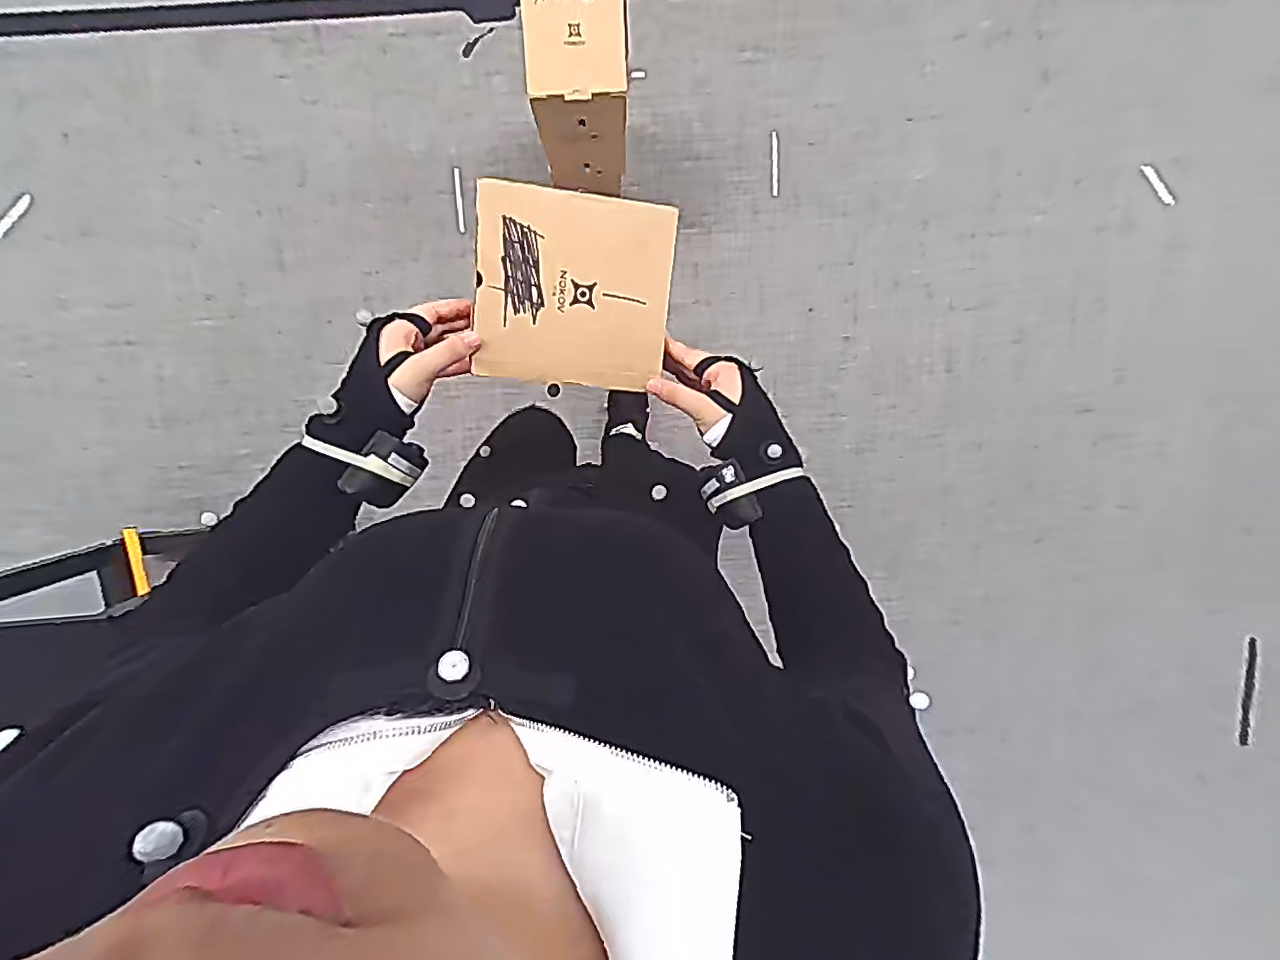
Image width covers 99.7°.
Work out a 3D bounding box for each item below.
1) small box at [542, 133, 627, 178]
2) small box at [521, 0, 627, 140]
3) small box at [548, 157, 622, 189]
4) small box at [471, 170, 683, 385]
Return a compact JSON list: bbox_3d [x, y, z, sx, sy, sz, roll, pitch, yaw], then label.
[{"bbox_3d":[-0.114,-0.747,1.109,0.168,0.176,0.179,-3,99,-1],"label":"small box"},{"bbox_3d":[-0.108,-0.720,0.947,0.168,0.176,0.179,-3,100,-1],"label":"small box"},{"bbox_3d":[-0.128,-0.782,1.270,0.168,0.176,0.179,-4,100,-1],"label":"small box"},{"bbox_3d":[-0.066,-0.189,0.552,0.179,0.176,0.168,4,101,-9],"label":"small box"}]
